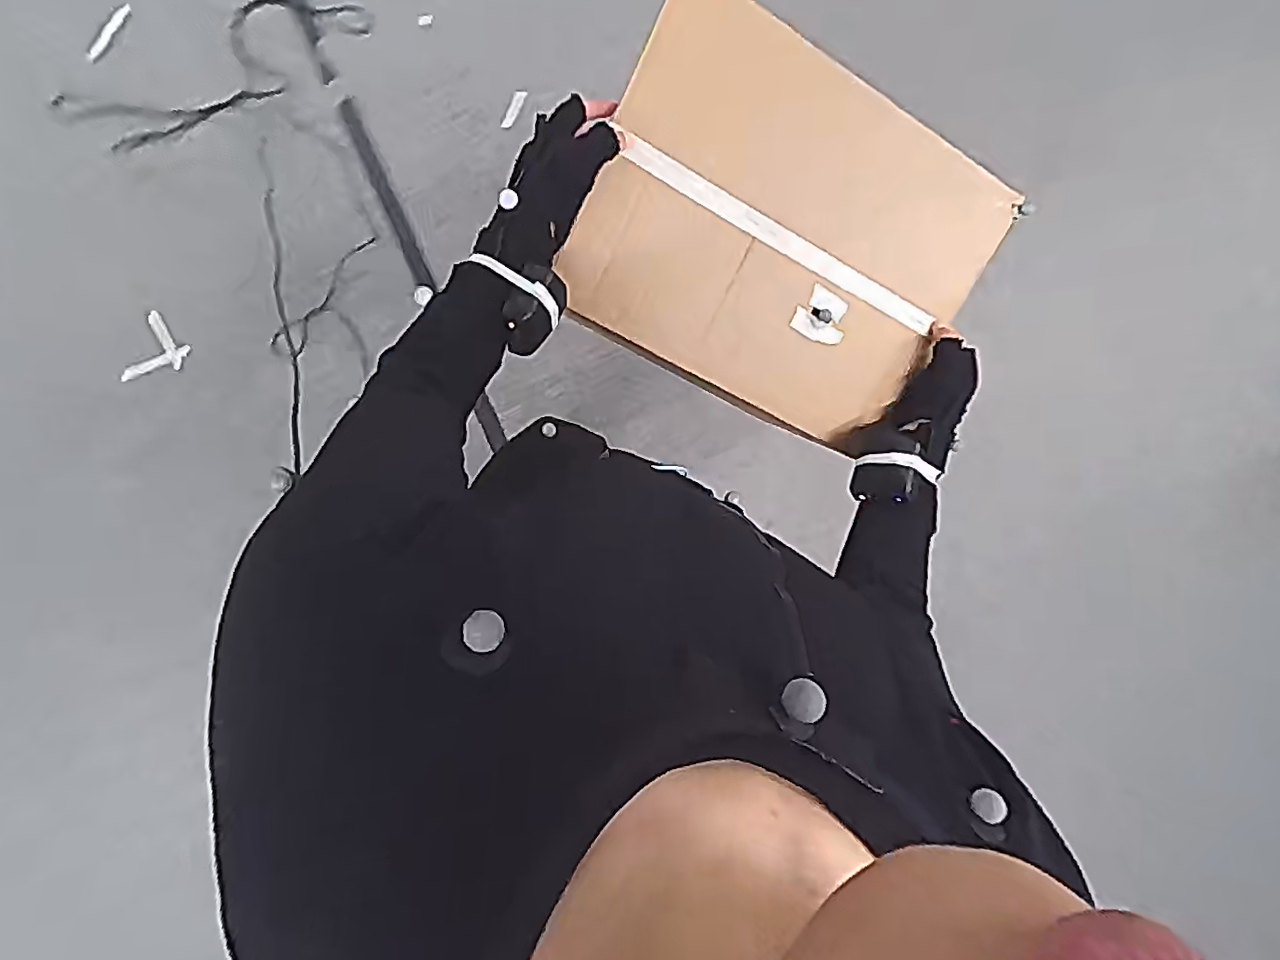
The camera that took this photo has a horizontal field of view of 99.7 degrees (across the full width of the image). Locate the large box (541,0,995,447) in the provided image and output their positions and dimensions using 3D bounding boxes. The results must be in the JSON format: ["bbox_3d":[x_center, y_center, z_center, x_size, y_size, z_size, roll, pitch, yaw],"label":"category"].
[{"bbox_3d":[0.117,-0.284,0.698,0.408,0.320,0.320,23,102,-14],"label":"large box"}]
